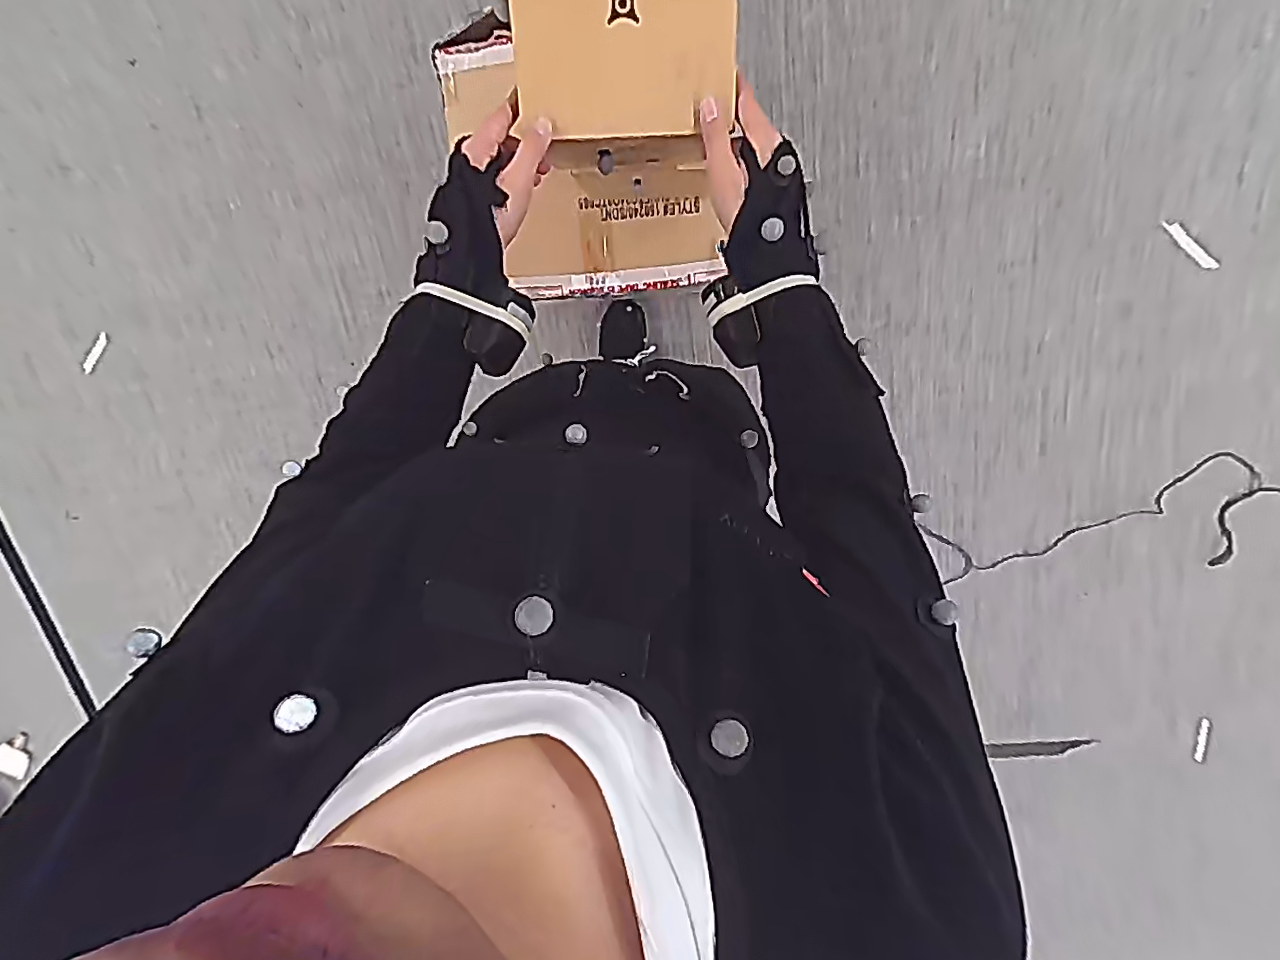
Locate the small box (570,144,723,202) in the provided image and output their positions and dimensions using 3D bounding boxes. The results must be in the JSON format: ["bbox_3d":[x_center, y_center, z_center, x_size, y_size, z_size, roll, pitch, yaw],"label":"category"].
[{"bbox_3d":[0.009,-0.446,0.664,0.179,0.176,0.168,0,109,2],"label":"small box"}]

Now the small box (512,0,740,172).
[{"bbox_3d":[-0.009,-0.369,0.459,0.168,0.176,0.179,-2,112,1],"label":"small box"}]
